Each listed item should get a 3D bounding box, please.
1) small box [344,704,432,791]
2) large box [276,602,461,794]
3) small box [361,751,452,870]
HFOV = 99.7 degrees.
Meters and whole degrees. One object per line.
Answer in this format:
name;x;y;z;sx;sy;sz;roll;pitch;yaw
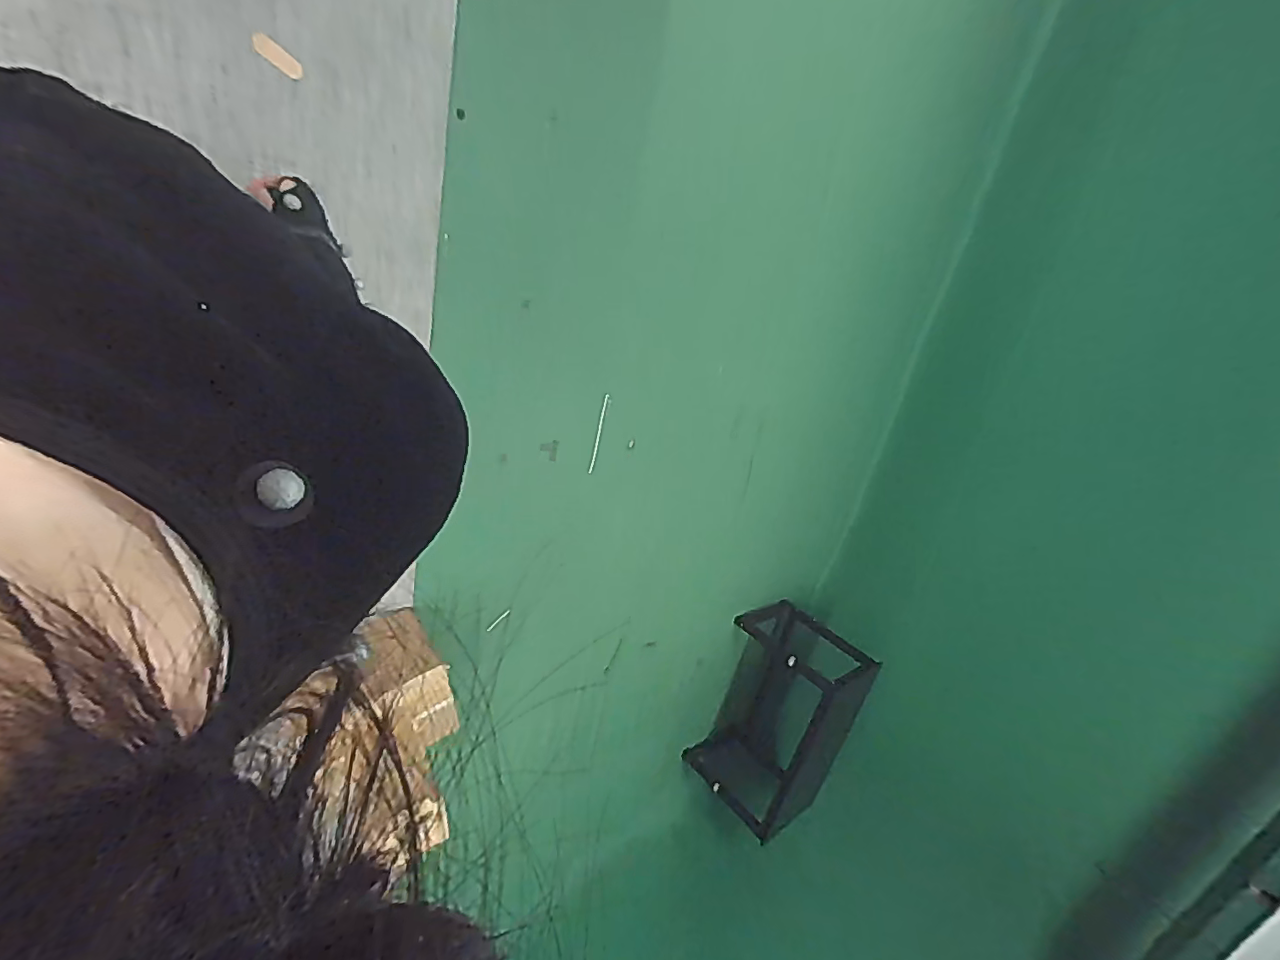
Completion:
small box;-0.698;0.764;1.506;0.179;0.176;0.168;-18;125;-35
large box;-0.832;0.653;1.682;0.408;0.320;0.320;-23;130;-34
small box;-0.603;0.838;1.395;0.168;0.176;0.179;-16;124;-37
